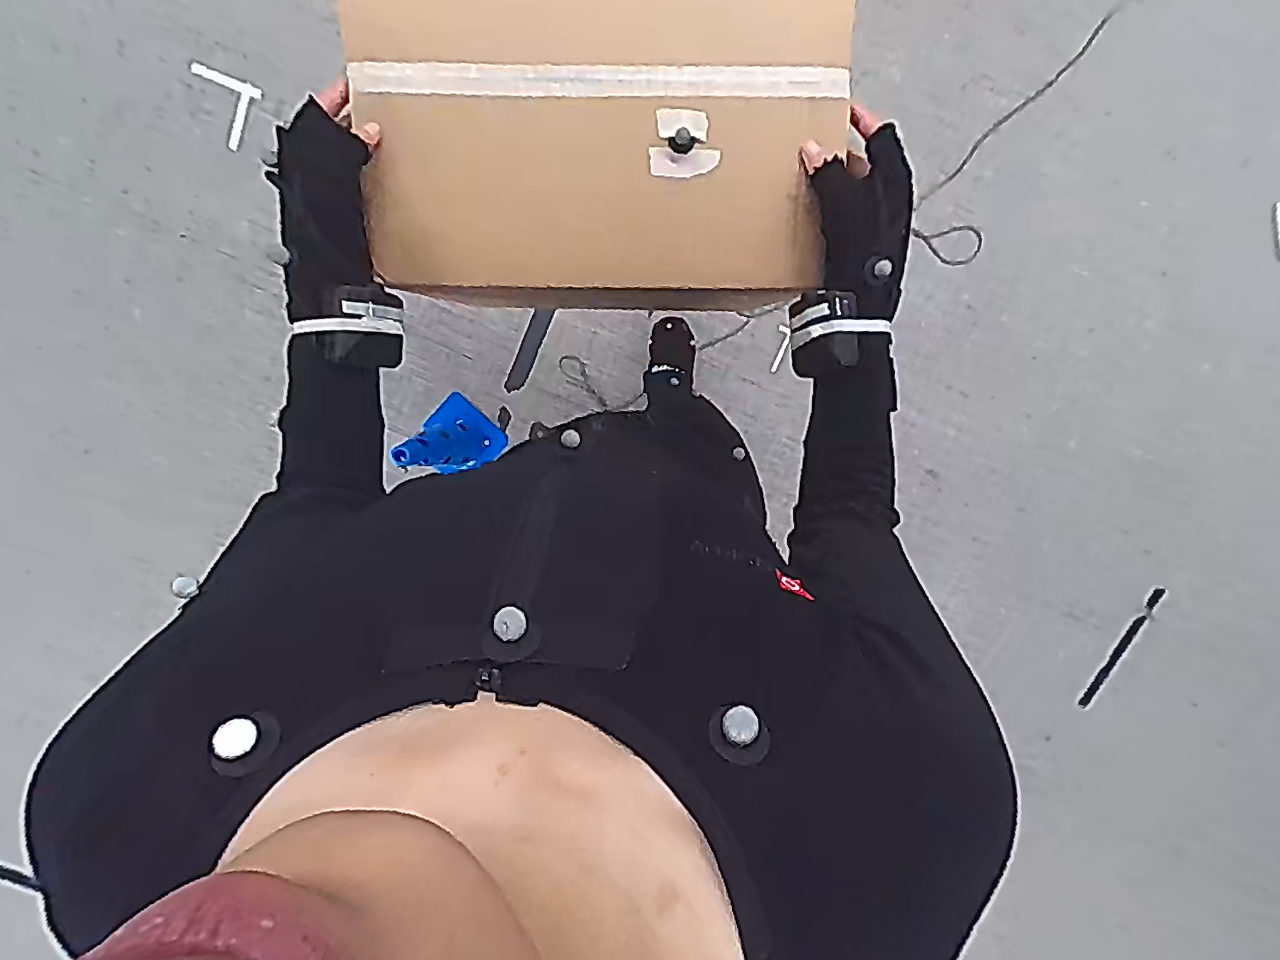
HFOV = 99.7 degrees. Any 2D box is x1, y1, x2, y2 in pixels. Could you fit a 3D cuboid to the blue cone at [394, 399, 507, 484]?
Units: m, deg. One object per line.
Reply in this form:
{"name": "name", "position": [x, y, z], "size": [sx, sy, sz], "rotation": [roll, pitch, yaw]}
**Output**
{"name": "blue cone", "position": [-0.481, -0.077, 1.304], "size": [0.193, 0.380, 0.192], "rotation": [45, 98, -5]}

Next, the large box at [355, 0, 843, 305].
{"name": "large box", "position": [-0.037, -0.370, 0.595], "size": [0.408, 0.320, 0.320], "rotation": [0, 104, -1]}
